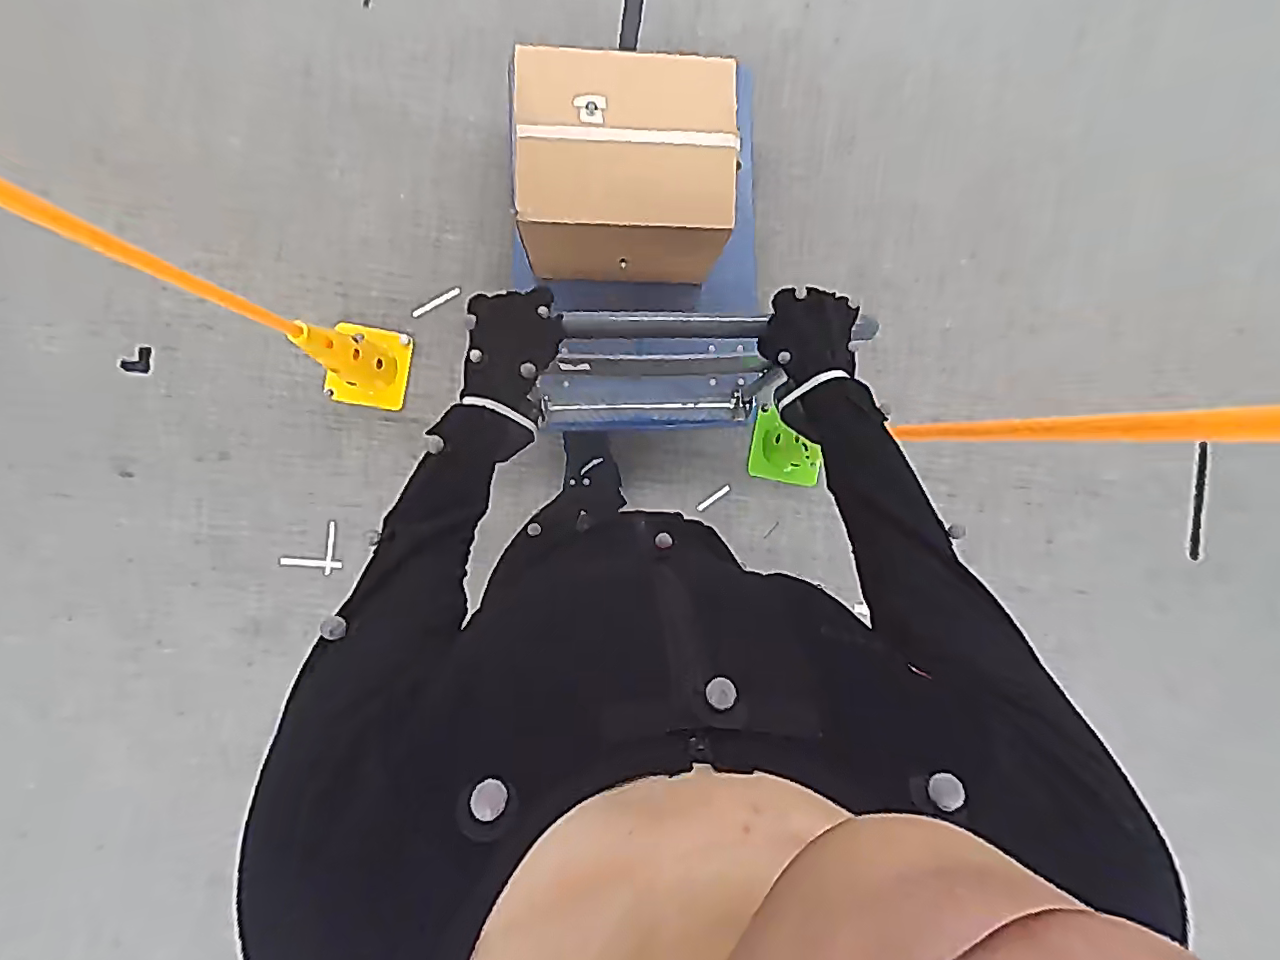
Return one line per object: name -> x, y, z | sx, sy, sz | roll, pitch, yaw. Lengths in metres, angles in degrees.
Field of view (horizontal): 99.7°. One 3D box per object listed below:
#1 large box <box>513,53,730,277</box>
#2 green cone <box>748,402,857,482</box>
large box -> -0.038, -0.632, 1.145 | 0.408, 0.320, 0.320 | 0, 91, -4
green cone -> 0.423, -0.104, 1.330 | 0.202, 0.368, 0.200 | 10, 90, -6
